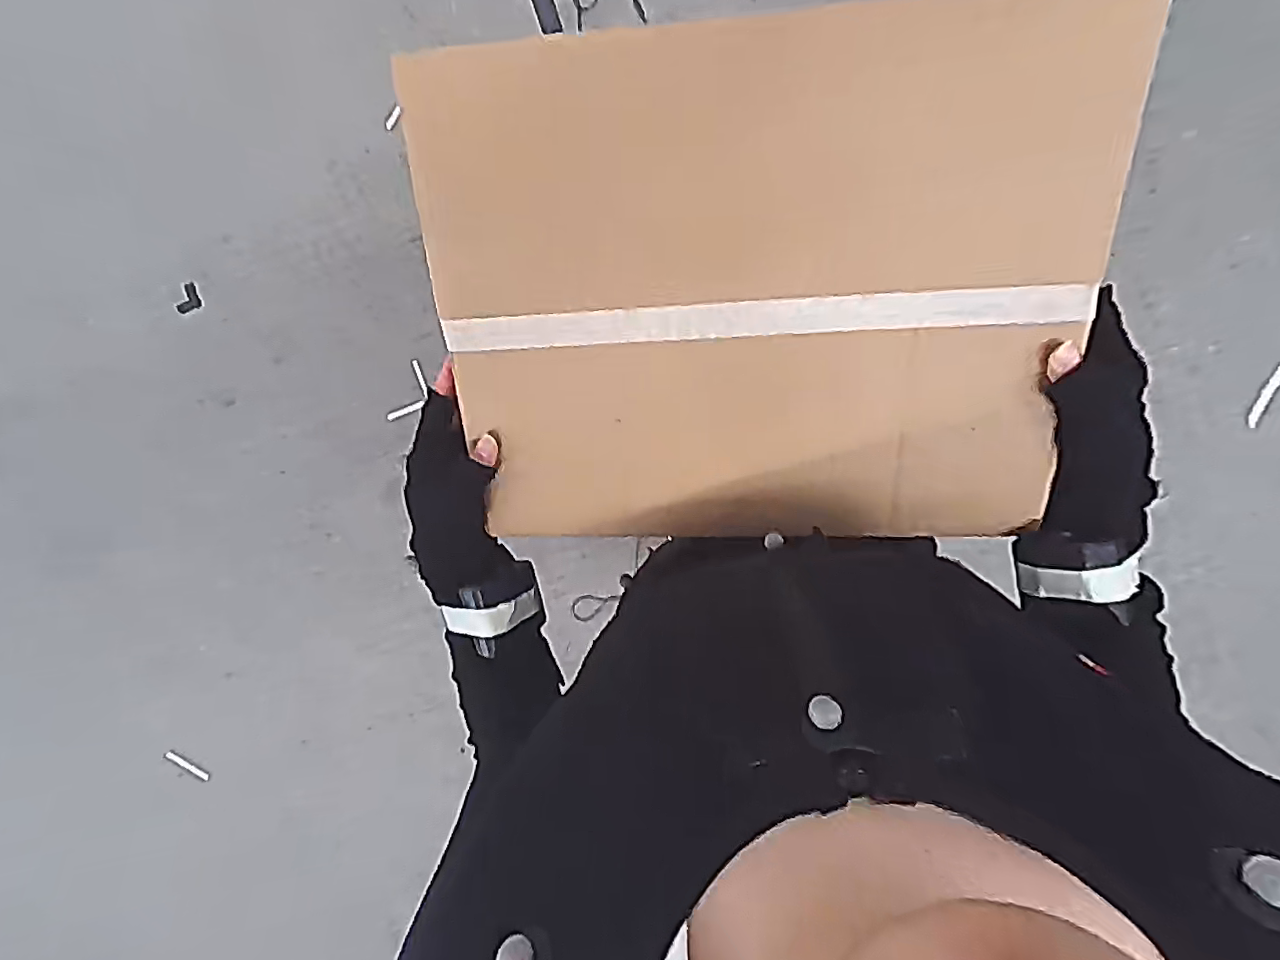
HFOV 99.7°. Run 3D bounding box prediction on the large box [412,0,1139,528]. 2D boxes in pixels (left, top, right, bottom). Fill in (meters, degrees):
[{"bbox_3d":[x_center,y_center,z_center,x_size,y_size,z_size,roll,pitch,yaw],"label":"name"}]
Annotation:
[{"bbox_3d":[0.083,-0.165,0.491,0.408,0.320,0.320,-1,114,7],"label":"large box"}]
